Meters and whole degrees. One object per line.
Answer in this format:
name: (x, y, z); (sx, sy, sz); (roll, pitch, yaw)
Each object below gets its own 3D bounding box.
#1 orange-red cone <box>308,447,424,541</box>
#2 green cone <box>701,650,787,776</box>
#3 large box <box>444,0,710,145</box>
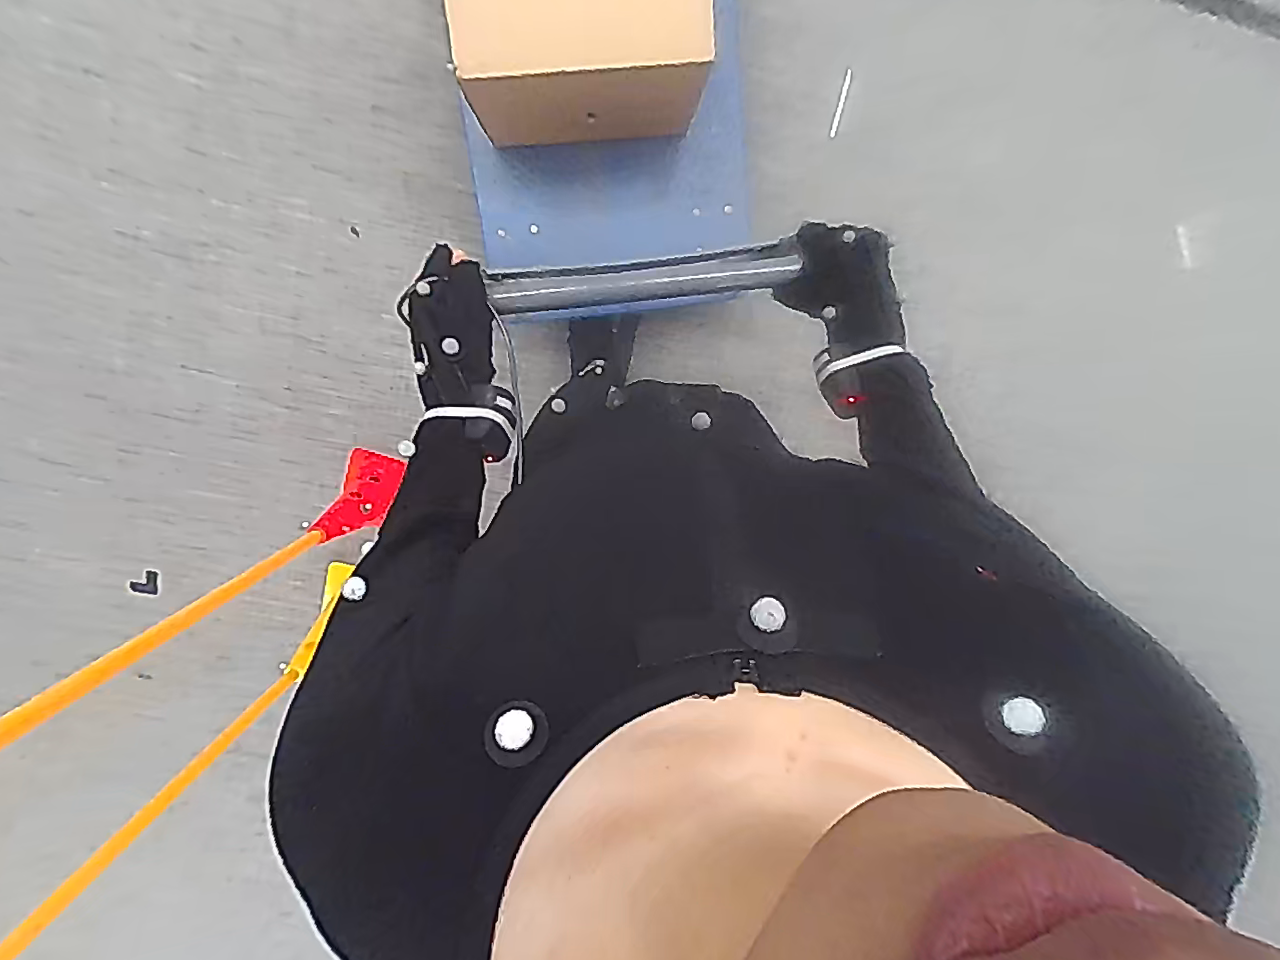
orange-red cone: (-0.676, 0.066, 1.272); (0.198, 0.360, 0.199); (19, 100, -9)
green cone: (0.317, 0.664, 1.487); (0.202, 0.368, 0.200); (15, 102, -9)
large box: (-0.109, -0.819, 0.946); (0.408, 0.320, 0.320); (-6, 104, -2)
